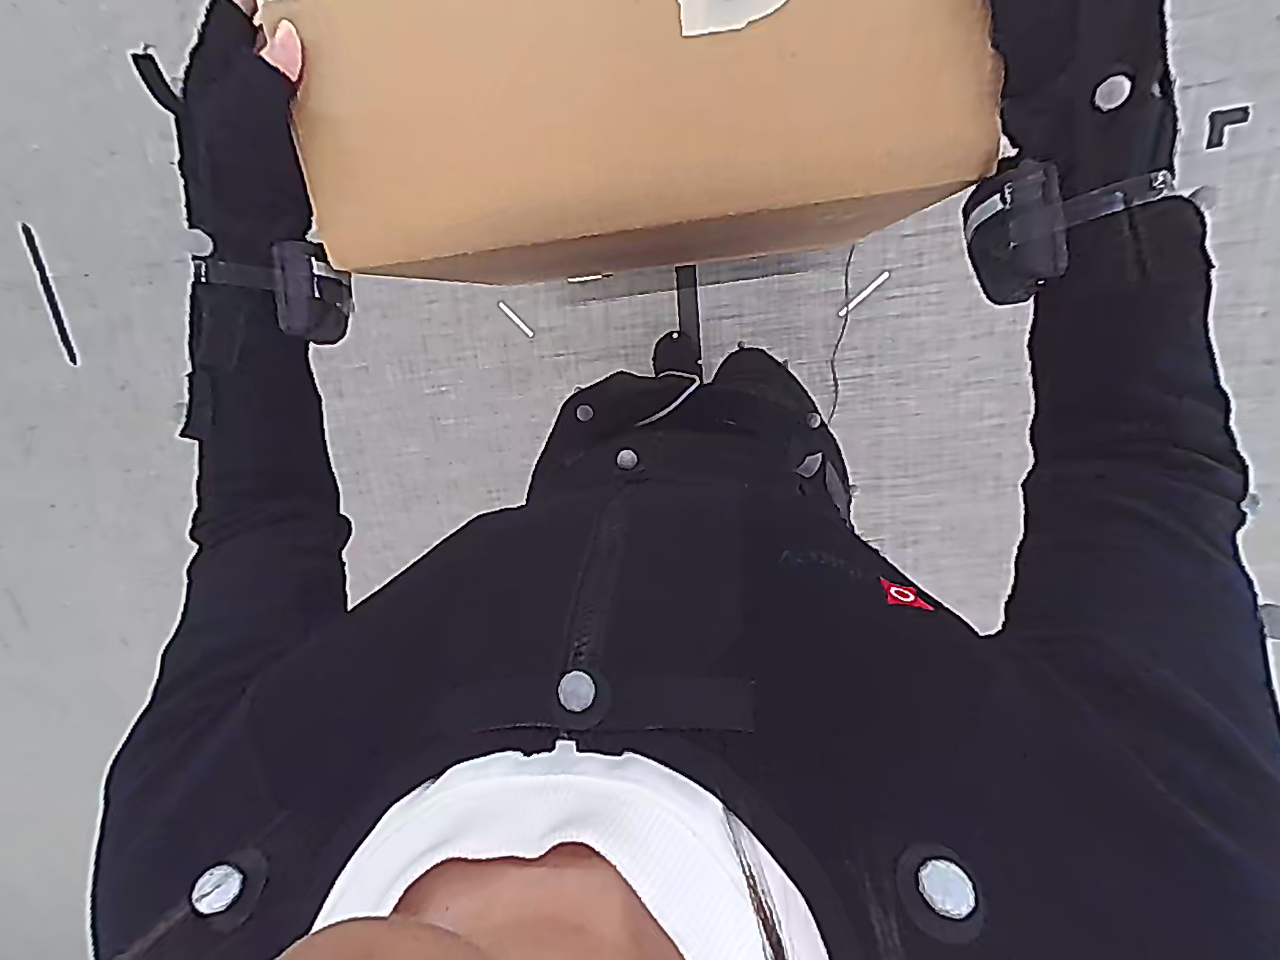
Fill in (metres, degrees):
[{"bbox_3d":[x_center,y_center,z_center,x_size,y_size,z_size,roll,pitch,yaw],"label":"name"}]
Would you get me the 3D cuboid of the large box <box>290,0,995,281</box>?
[{"bbox_3d":[0.001,-0.355,0.435,0.408,0.320,0.320,-4,108,8],"label":"large box"}]
